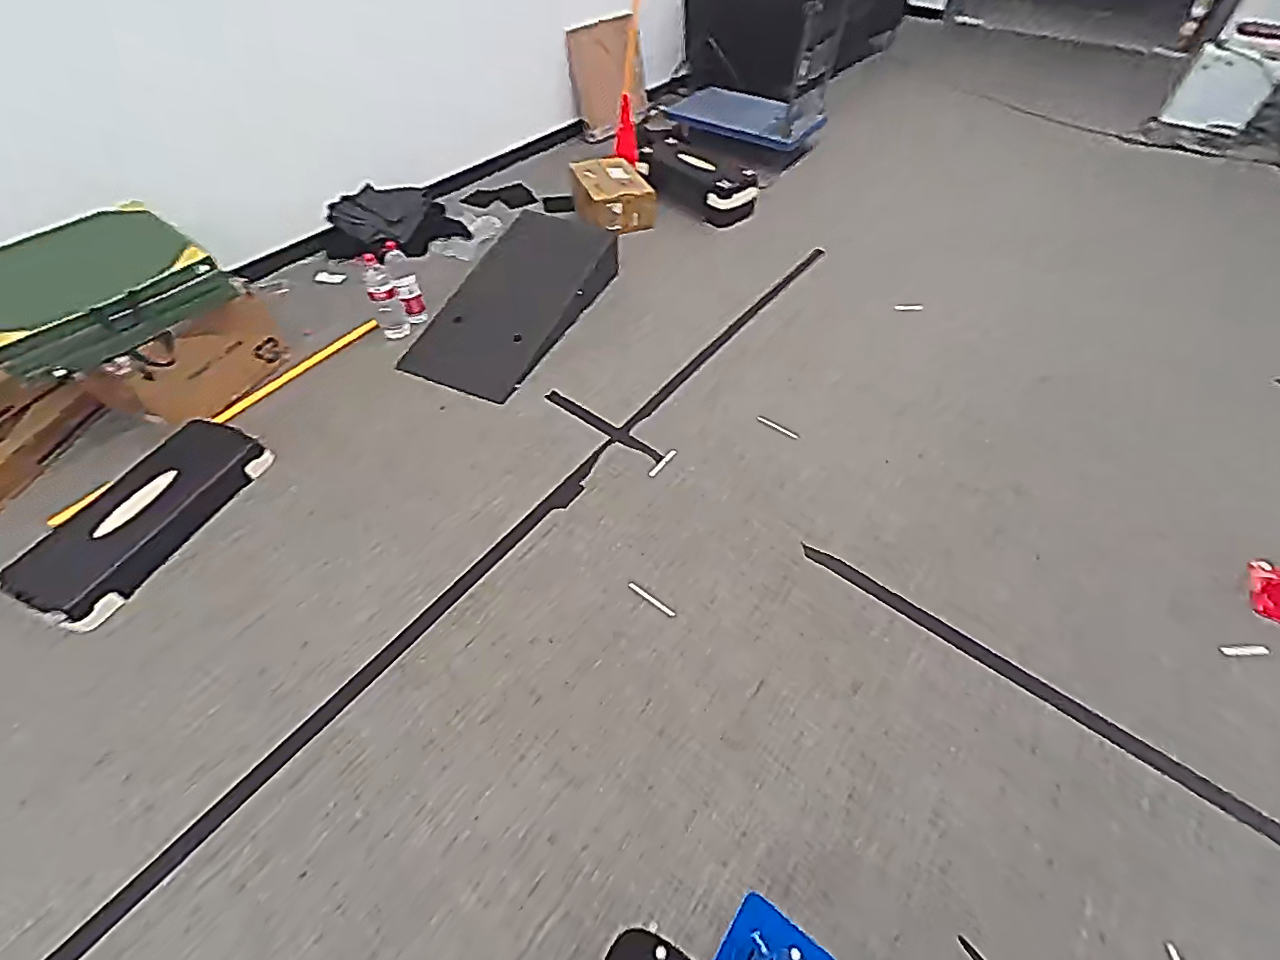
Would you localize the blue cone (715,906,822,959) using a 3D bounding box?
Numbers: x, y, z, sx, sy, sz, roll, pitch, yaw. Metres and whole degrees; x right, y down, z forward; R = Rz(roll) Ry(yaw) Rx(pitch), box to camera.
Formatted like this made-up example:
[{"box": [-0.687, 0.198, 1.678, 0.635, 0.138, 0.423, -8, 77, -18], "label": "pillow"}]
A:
[{"box": [0.234, 0.821, 0.858, 0.193, 0.380, 0.192, 32, 59, 23], "label": "blue cone"}]

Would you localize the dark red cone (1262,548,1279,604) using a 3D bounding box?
[{"box": [1.808, 0.194, 1.336, 0.202, 0.394, 0.201, 25, 56, 18], "label": "dark red cone"}]
